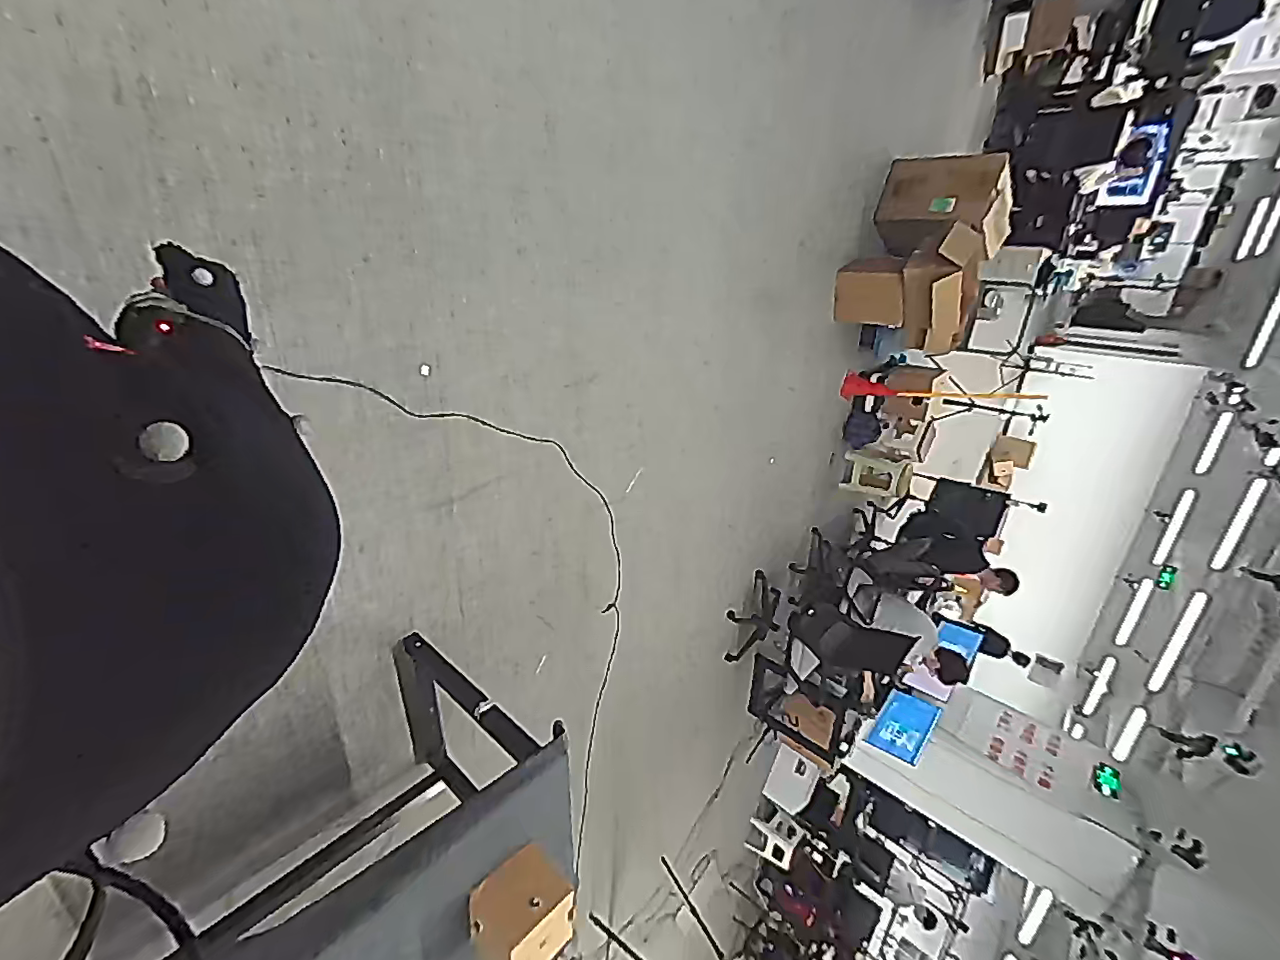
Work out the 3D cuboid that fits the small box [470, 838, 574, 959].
[{"bbox_3d":[-0.275,0.997,1.264,0.179,0.176,0.168,-17,119,-44],"label":"small box"}]
